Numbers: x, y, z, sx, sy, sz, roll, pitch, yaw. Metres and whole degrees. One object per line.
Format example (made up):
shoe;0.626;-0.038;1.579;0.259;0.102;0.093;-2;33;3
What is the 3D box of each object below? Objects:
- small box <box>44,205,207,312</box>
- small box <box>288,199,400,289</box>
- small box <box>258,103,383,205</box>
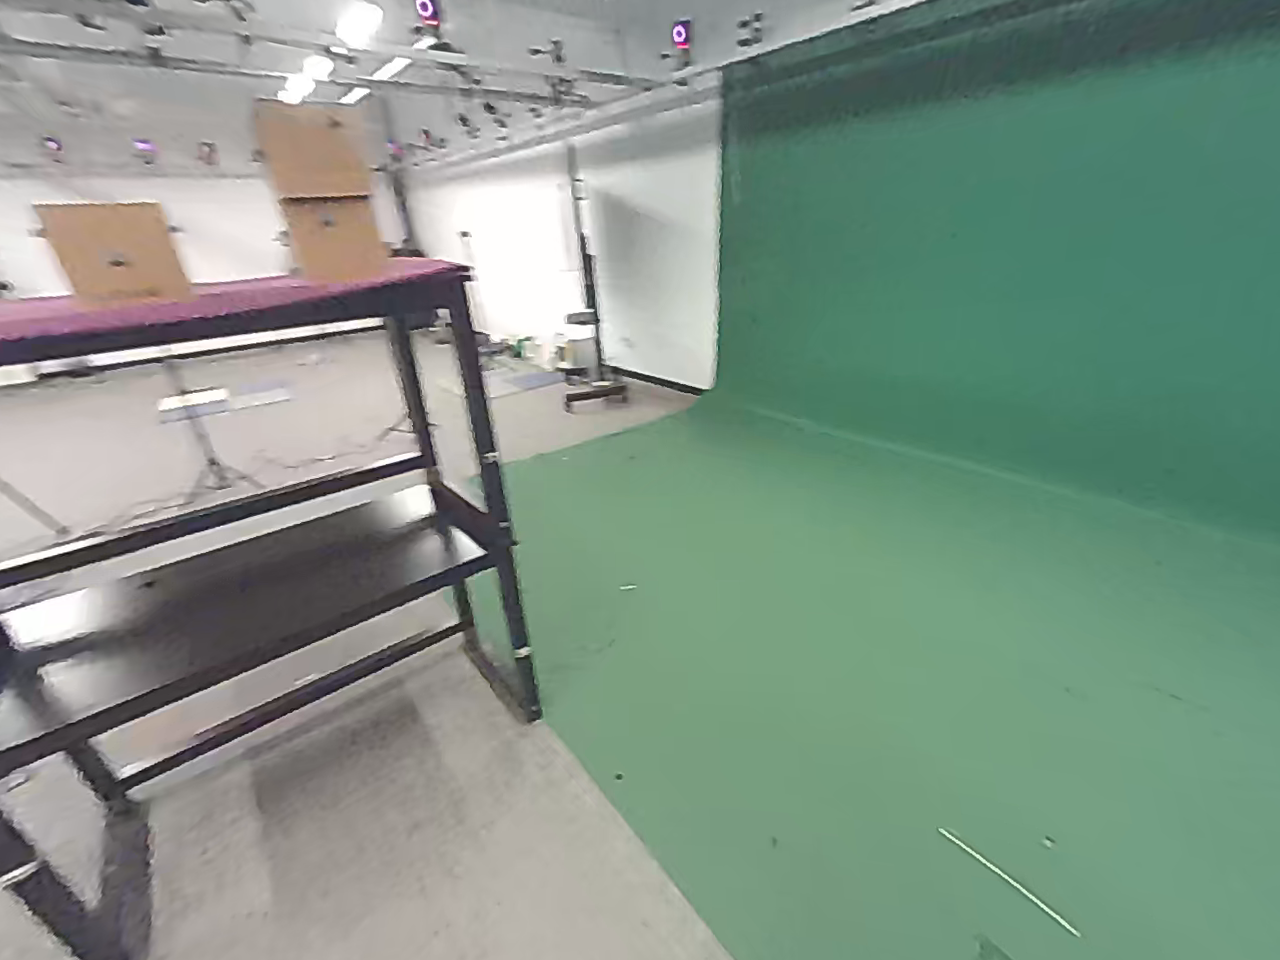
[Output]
small box;-0.929;-0.407;0.996;0.168;0.176;0.179;-19;29;-32
small box;-0.663;-0.526;1.214;0.179;0.176;0.168;-18;28;-28
small box;-0.668;-0.668;1.134;0.179;0.176;0.168;-21;29;-32
